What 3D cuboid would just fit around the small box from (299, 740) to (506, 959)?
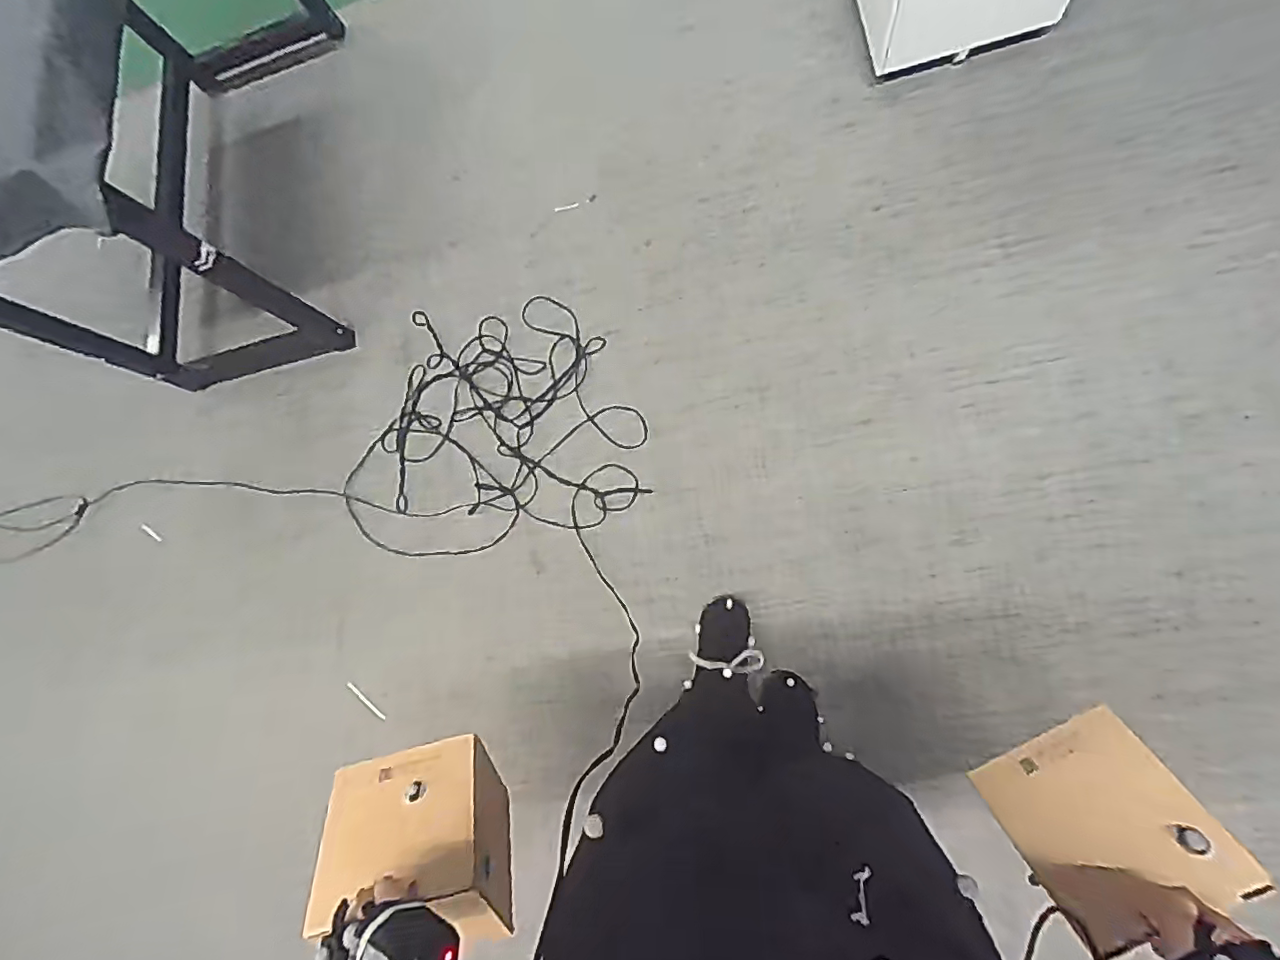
[{"bbox_3d":[-0.259,0.442,0.640,0.168,0.179,0.176,-12,37,-8],"label":"small box"}]
